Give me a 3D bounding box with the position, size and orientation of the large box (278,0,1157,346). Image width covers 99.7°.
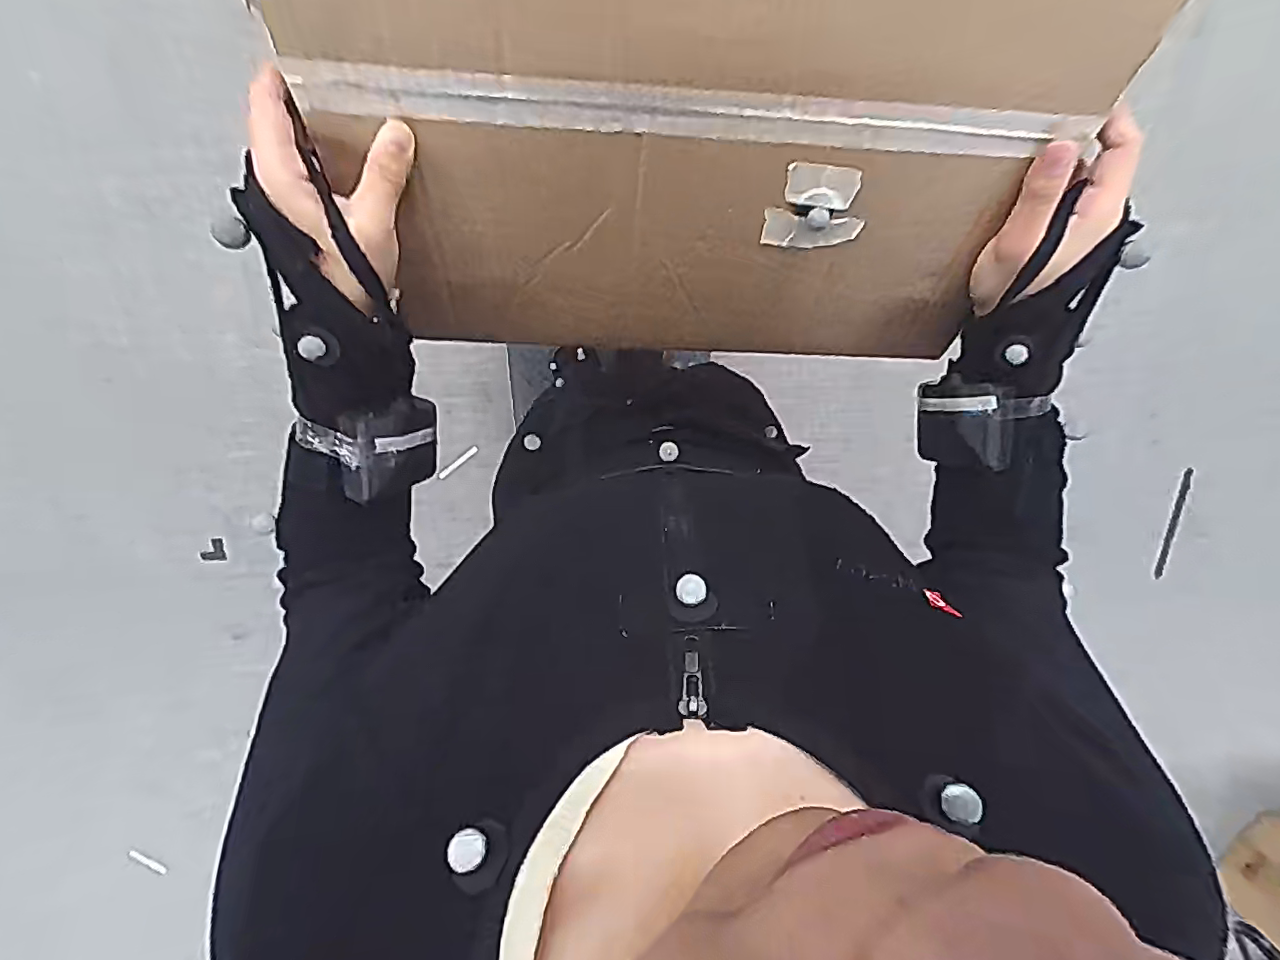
[{"bbox_3d":[0.027,-0.311,0.367,0.408,0.320,0.320,-1,146,-5],"label":"large box"}]
